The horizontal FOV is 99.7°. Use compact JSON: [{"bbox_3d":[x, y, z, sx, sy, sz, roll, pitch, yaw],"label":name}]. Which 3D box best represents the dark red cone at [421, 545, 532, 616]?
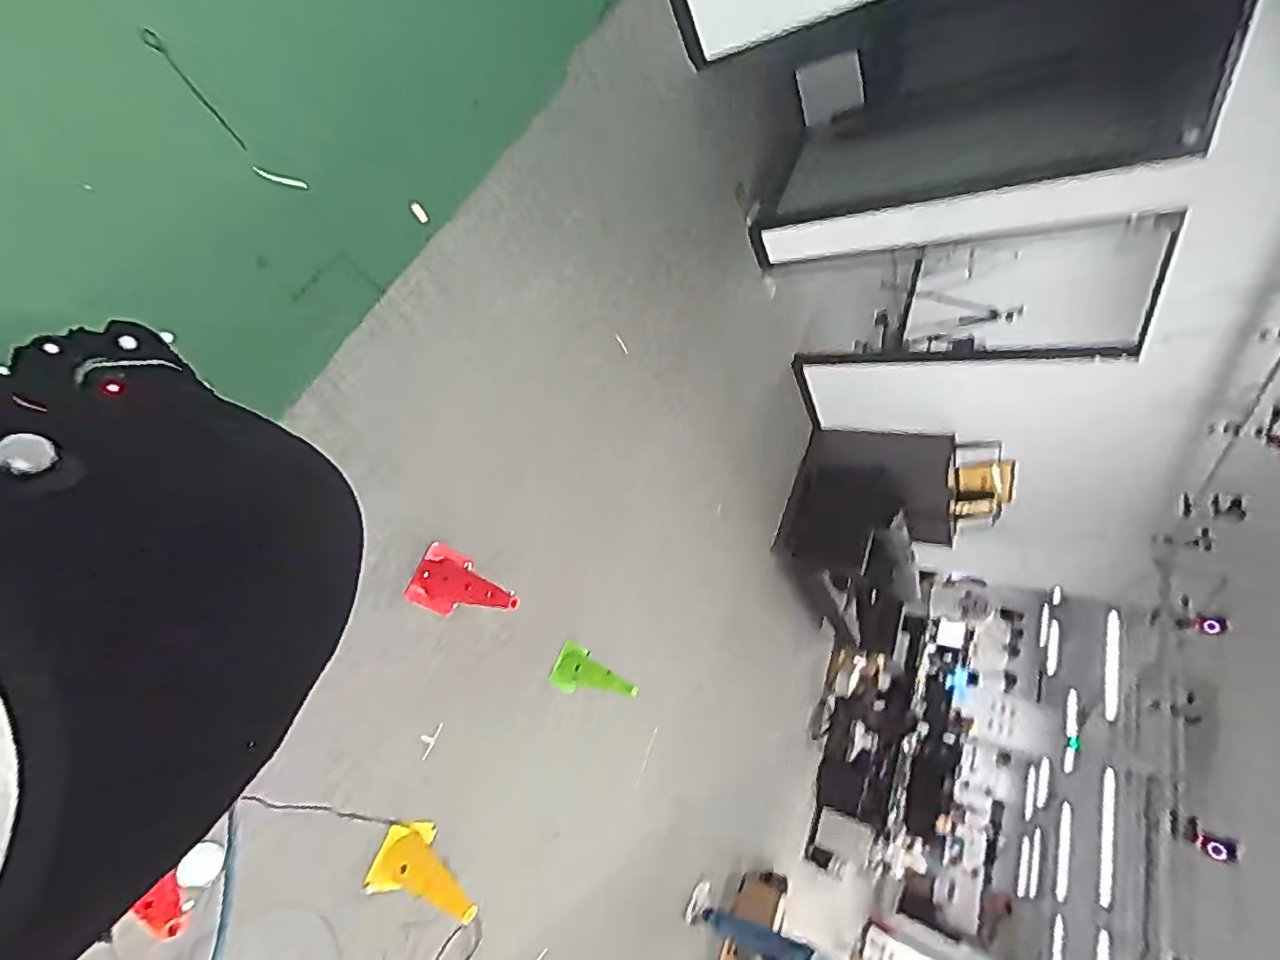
[{"bbox_3d":[-0.480,0.349,1.685,0.201,0.394,0.202,43,61,-47],"label":"dark red cone"}]

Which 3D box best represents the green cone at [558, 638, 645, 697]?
[{"bbox_3d":[-0.135,0.833,2.289,0.200,0.368,0.202,48,58,-46],"label":"green cone"}]
